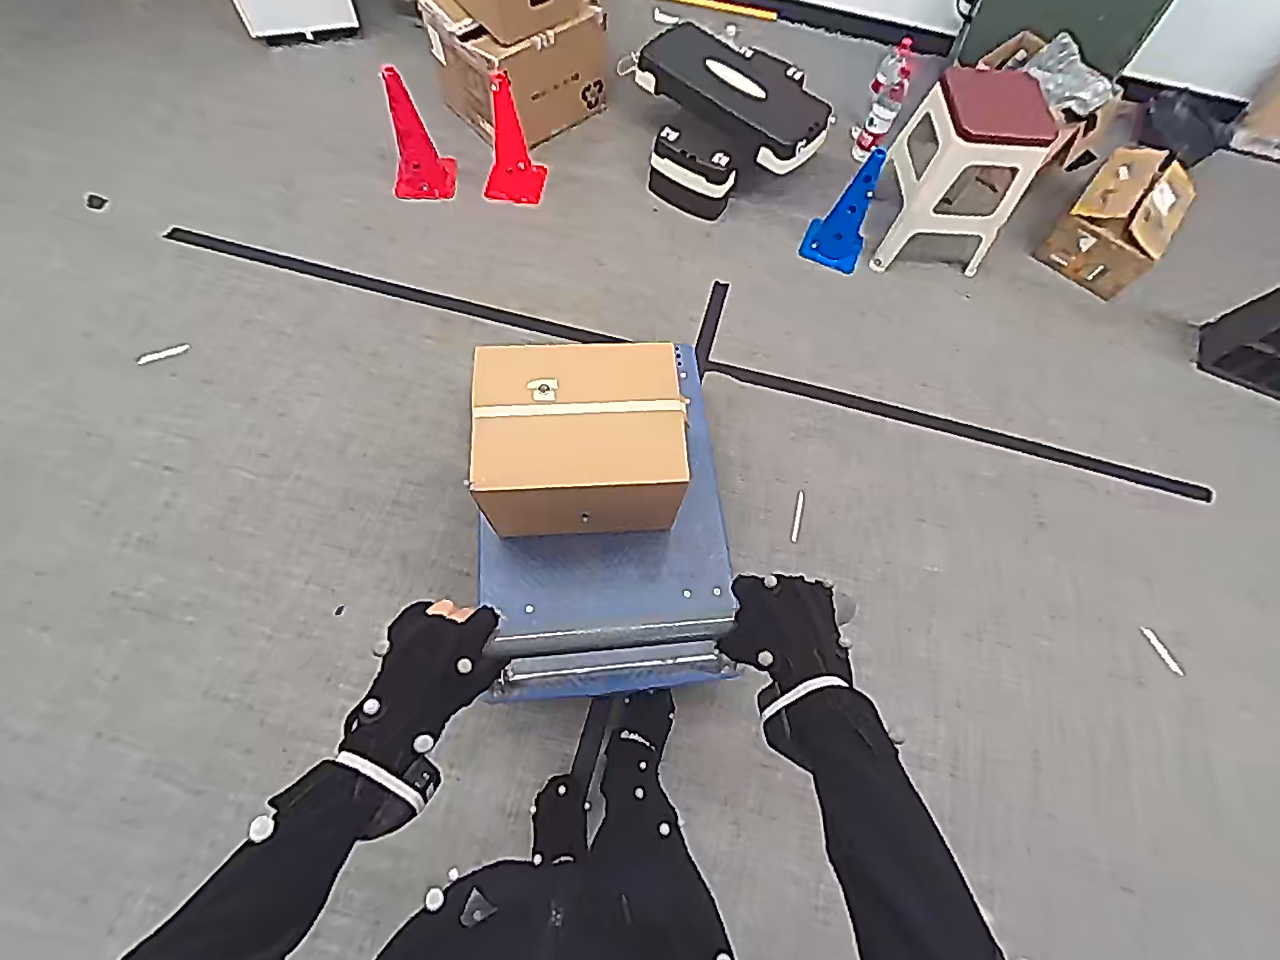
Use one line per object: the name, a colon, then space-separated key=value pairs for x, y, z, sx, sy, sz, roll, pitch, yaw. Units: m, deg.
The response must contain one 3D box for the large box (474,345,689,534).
large box: x=-0.123 y=-0.074 z=1.191 sx=0.408 sy=0.320 sz=0.320 roll=-2 pitch=68 yaw=-4
